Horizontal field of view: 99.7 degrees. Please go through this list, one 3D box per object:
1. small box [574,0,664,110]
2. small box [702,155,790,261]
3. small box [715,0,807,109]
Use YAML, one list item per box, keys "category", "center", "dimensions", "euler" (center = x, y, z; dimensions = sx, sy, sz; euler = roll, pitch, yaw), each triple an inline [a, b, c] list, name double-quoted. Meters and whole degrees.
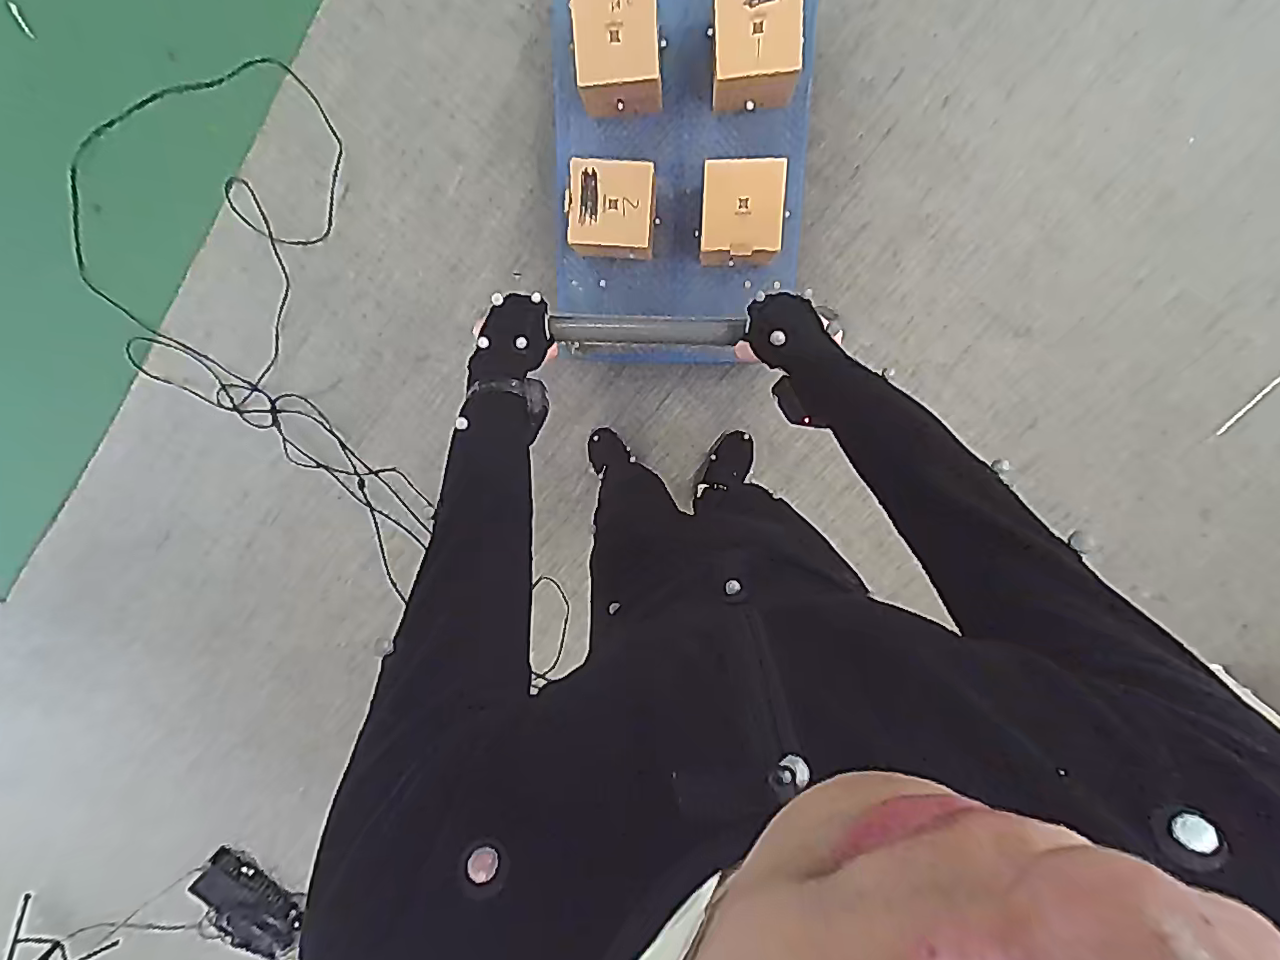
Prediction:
- category: "small box"
  center: [-0.037, -0.895, 1.119]
  dimensions: [0.168, 0.176, 0.179]
  euler: [-2, 104, 5]
- category: "small box"
  center: [0.223, -0.583, 1.177]
  dimensions: [0.168, 0.176, 0.179]
  euler: [2, 105, 5]
- category: "small box"
  center: [0.238, -0.891, 1.095]
  dimensions: [0.168, 0.176, 0.179]
  euler: [-1, 105, 6]
